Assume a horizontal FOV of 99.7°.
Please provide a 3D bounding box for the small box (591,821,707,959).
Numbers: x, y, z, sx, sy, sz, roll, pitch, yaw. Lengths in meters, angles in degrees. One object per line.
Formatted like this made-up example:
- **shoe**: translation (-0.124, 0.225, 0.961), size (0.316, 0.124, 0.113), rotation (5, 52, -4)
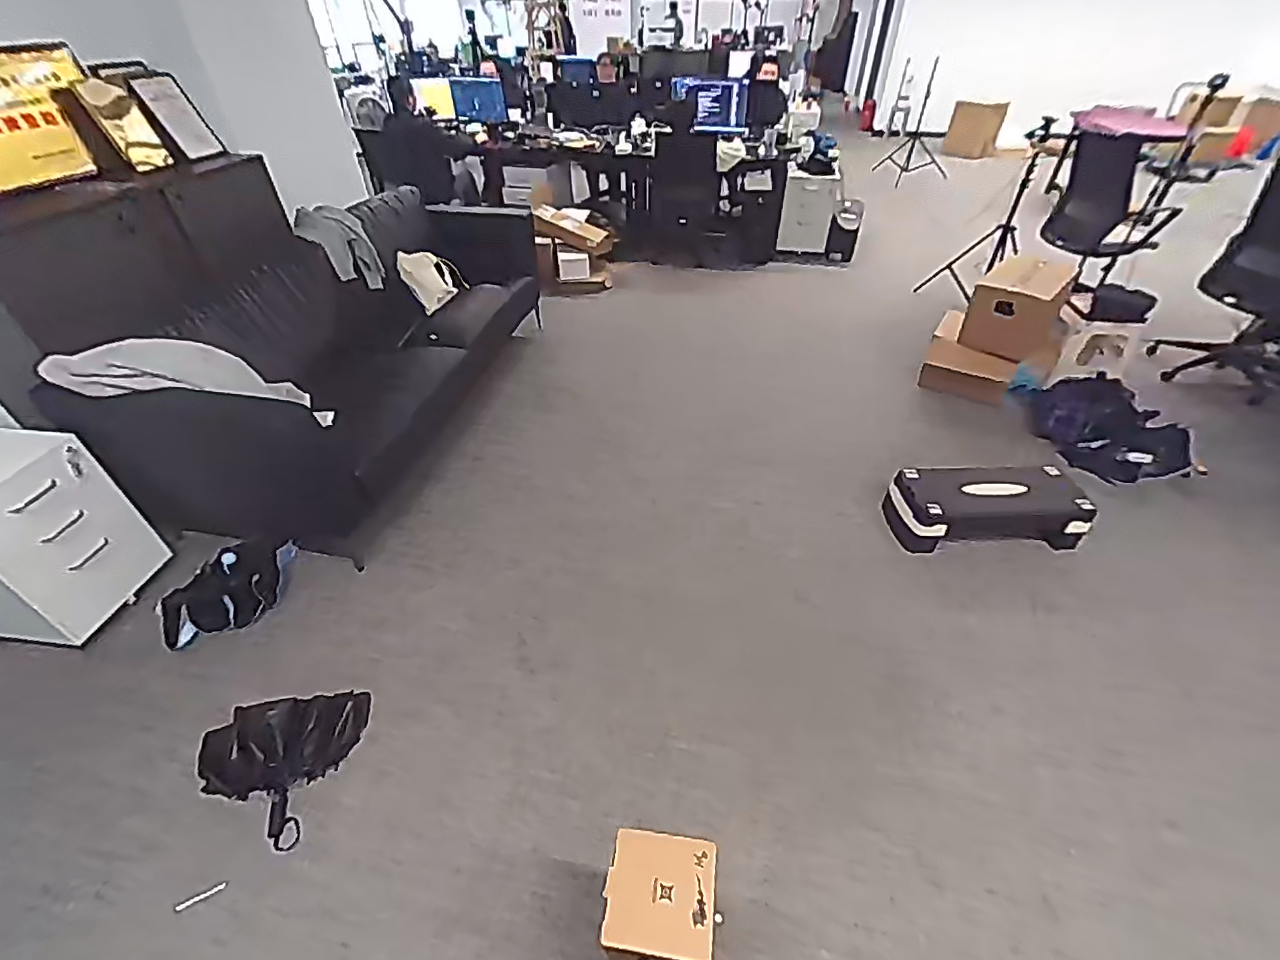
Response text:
- **small box**: translation (0.022, 0.730, 0.946), size (0.179, 0.176, 0.168), rotation (5, 41, 8)
